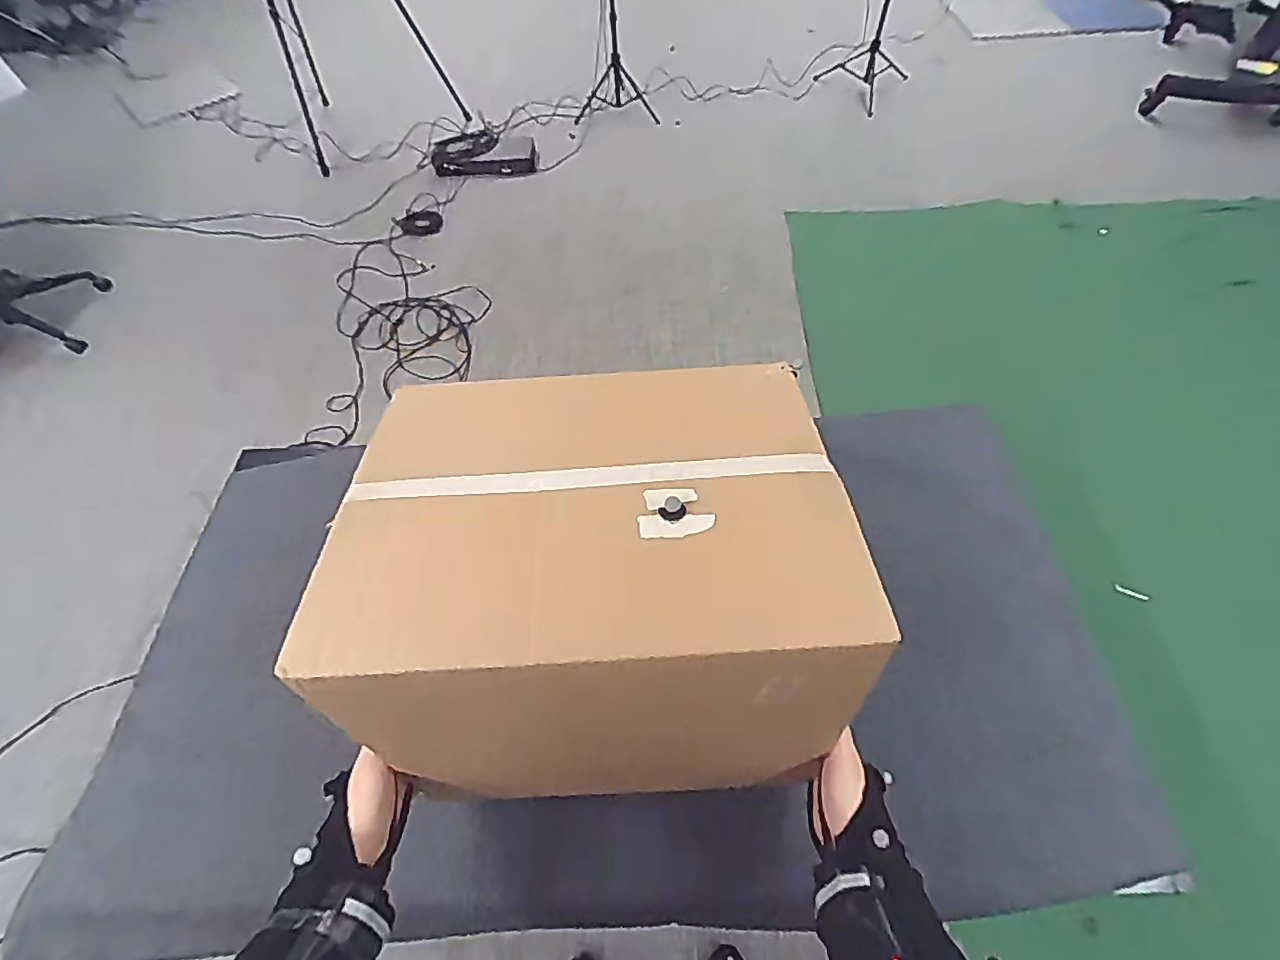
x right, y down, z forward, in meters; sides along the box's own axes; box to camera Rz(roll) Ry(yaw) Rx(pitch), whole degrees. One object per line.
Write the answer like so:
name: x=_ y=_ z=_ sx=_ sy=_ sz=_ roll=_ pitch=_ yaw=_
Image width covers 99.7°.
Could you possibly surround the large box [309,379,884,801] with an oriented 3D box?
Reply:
large box: x=-0.031 y=0.118 z=0.576 sx=0.408 sy=0.320 sz=0.320 roll=-3 pitch=47 yaw=0
